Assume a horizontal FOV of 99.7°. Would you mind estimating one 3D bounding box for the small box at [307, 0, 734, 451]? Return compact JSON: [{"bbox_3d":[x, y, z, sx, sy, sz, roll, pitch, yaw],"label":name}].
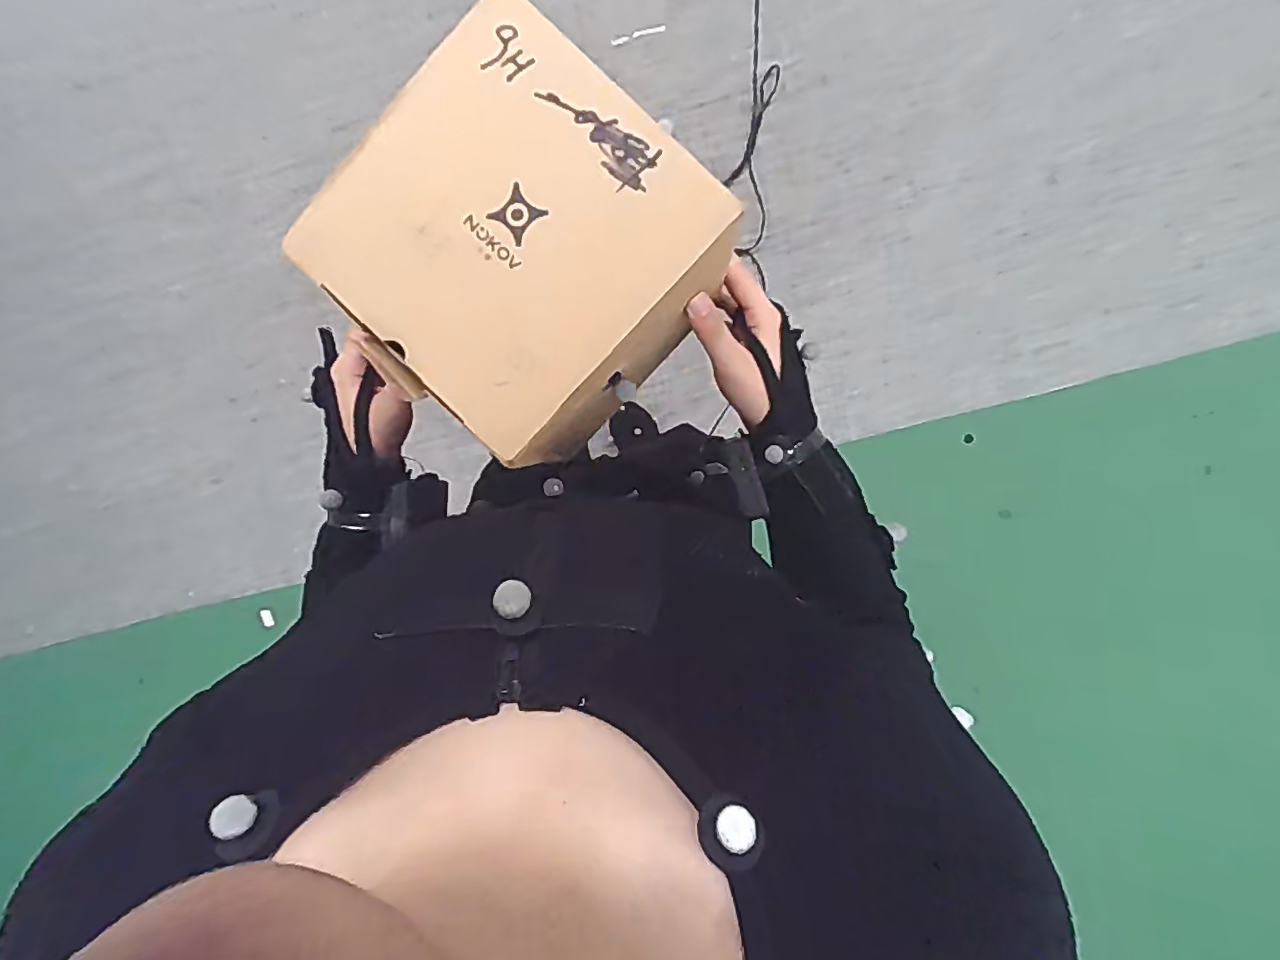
[{"bbox_3d":[-0.059,-0.134,0.362,0.168,0.176,0.179,43,95,1],"label":"small box"}]
